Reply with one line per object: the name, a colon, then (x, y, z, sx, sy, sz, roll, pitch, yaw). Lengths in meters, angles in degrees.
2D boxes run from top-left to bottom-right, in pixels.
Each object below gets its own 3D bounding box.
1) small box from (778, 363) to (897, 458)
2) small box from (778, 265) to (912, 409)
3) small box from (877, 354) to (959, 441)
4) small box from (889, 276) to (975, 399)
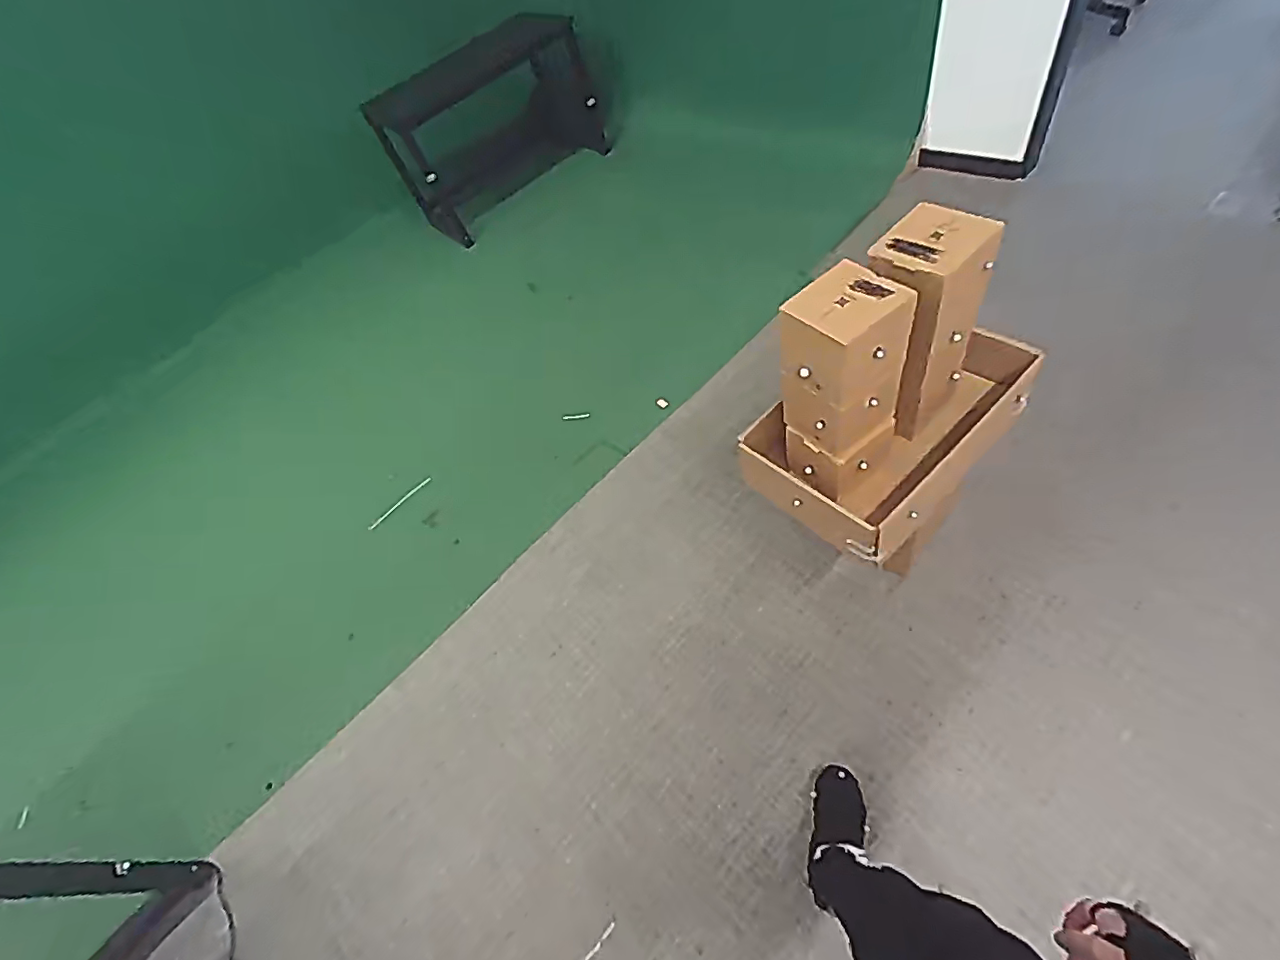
small box: (0.424, -0.181, 1.178, 0.179, 0.176, 0.168, -36, 54, -11)
small box: (0.386, -0.274, 1.048, 0.179, 0.176, 0.168, -37, 54, -10)
small box: (0.654, -0.233, 1.350, 0.179, 0.176, 0.168, -43, 54, -12)
small box: (0.609, -0.319, 1.220, 0.179, 0.176, 0.168, -44, 56, -12)
